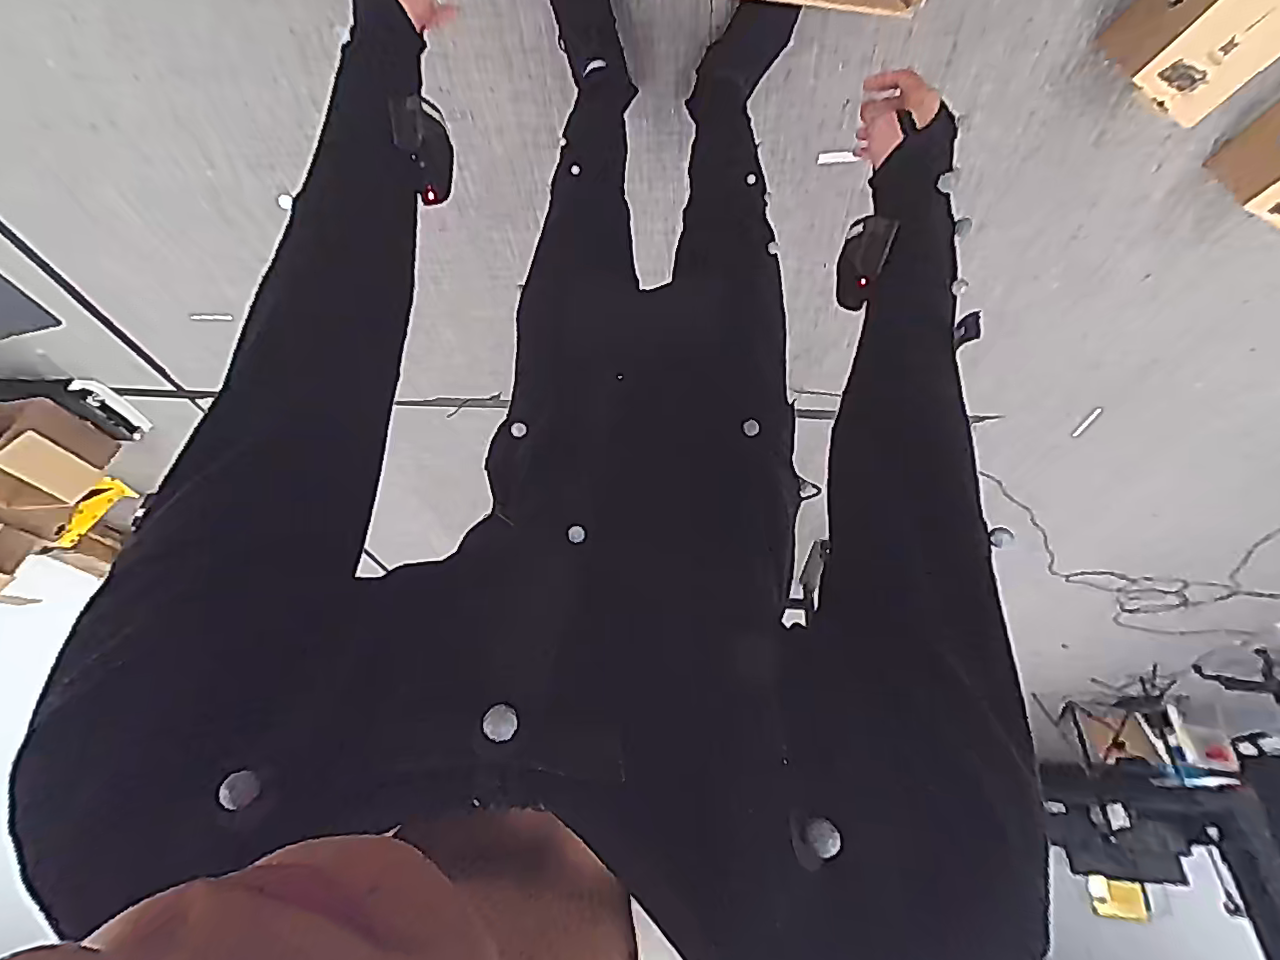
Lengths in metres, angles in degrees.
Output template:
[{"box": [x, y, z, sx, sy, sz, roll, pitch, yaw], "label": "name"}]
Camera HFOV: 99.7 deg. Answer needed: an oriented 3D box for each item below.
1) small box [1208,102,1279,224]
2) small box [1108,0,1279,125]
[{"box": [1.284, -0.623, 1.044, 0.168, 0.176, 0.179, 16, 144, -13], "label": "small box"}, {"box": [0.938, -0.758, 0.907, 0.168, 0.176, 0.179, 20, 144, -19], "label": "small box"}]
